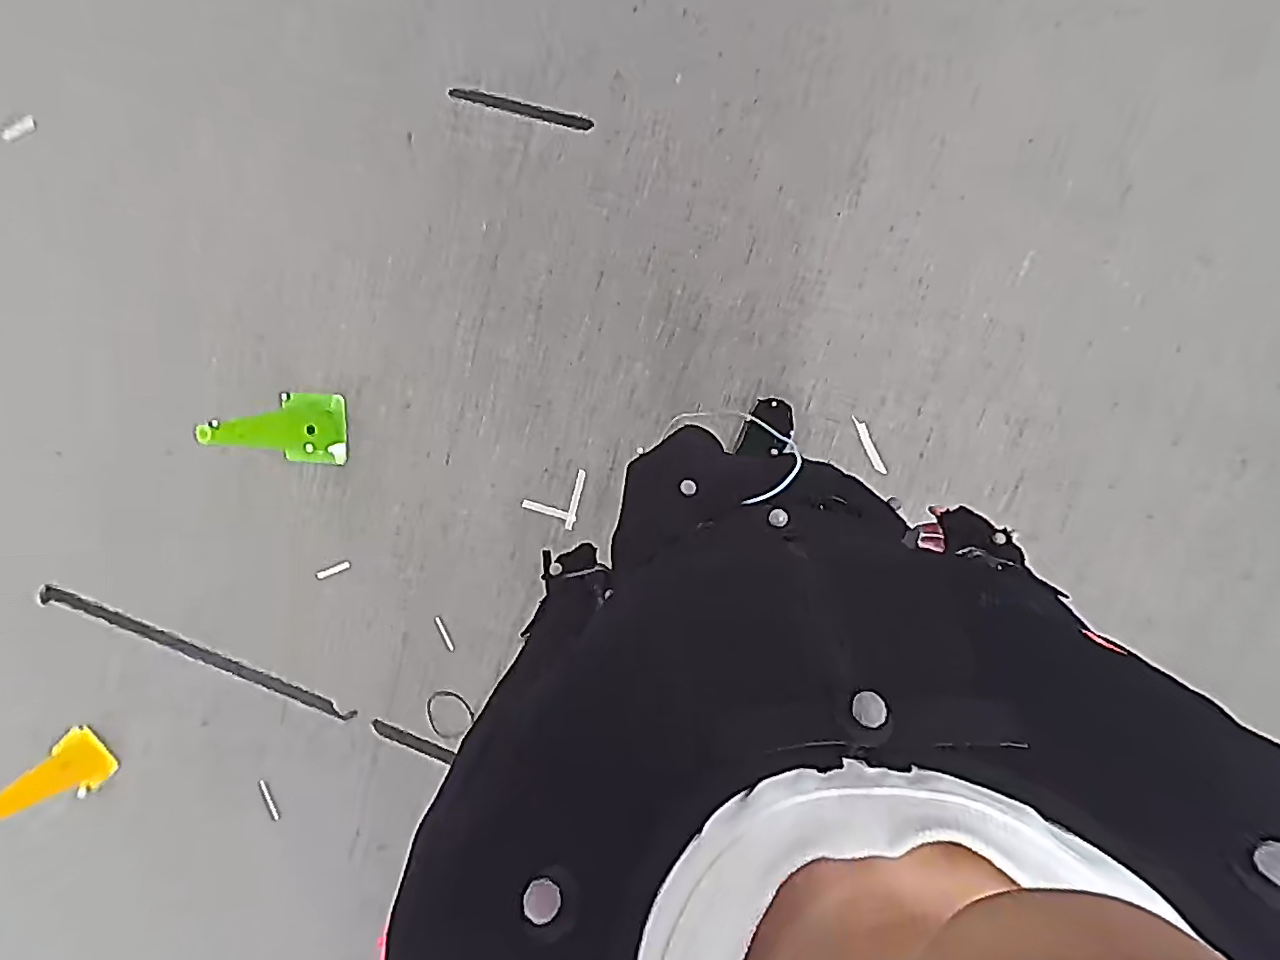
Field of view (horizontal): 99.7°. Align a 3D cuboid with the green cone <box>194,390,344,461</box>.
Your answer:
[{"bbox_3d":[-0.981,-0.132,1.406,0.202,0.368,0.200,3,99,7],"label":"green cone"}]

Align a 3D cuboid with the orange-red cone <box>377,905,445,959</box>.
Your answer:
[{"bbox_3d":[-0.782,1.532,1.612,0.199,0.360,0.198,27,100,5],"label":"orange-red cone"}]
